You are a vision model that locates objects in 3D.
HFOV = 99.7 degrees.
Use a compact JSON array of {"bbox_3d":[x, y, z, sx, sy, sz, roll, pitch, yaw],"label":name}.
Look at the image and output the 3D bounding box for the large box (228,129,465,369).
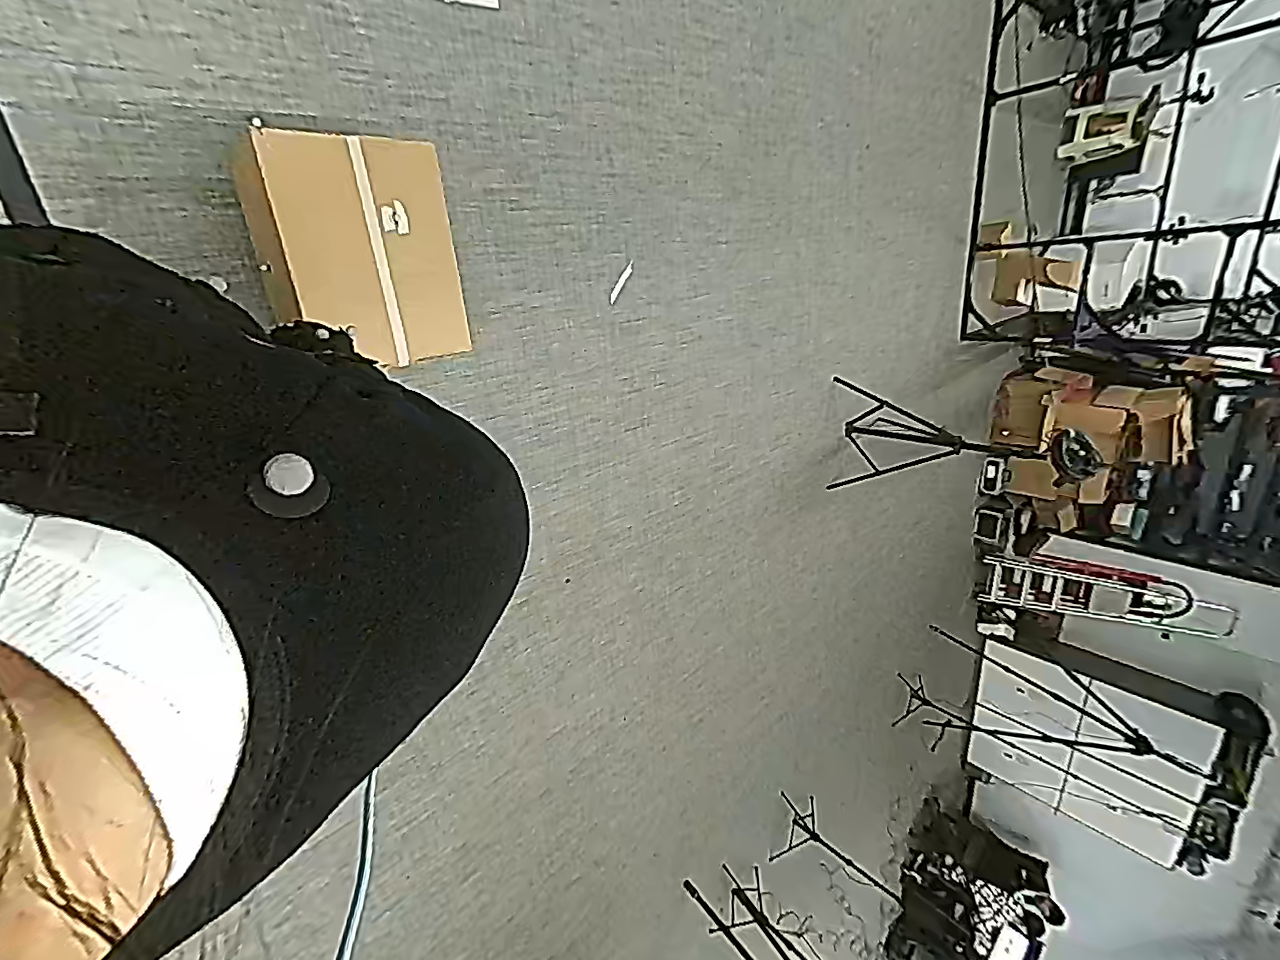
[{"bbox_3d":[-0.621,-0.468,1.159,0.320,0.320,0.408,-22,115,-38],"label":"large box"}]
